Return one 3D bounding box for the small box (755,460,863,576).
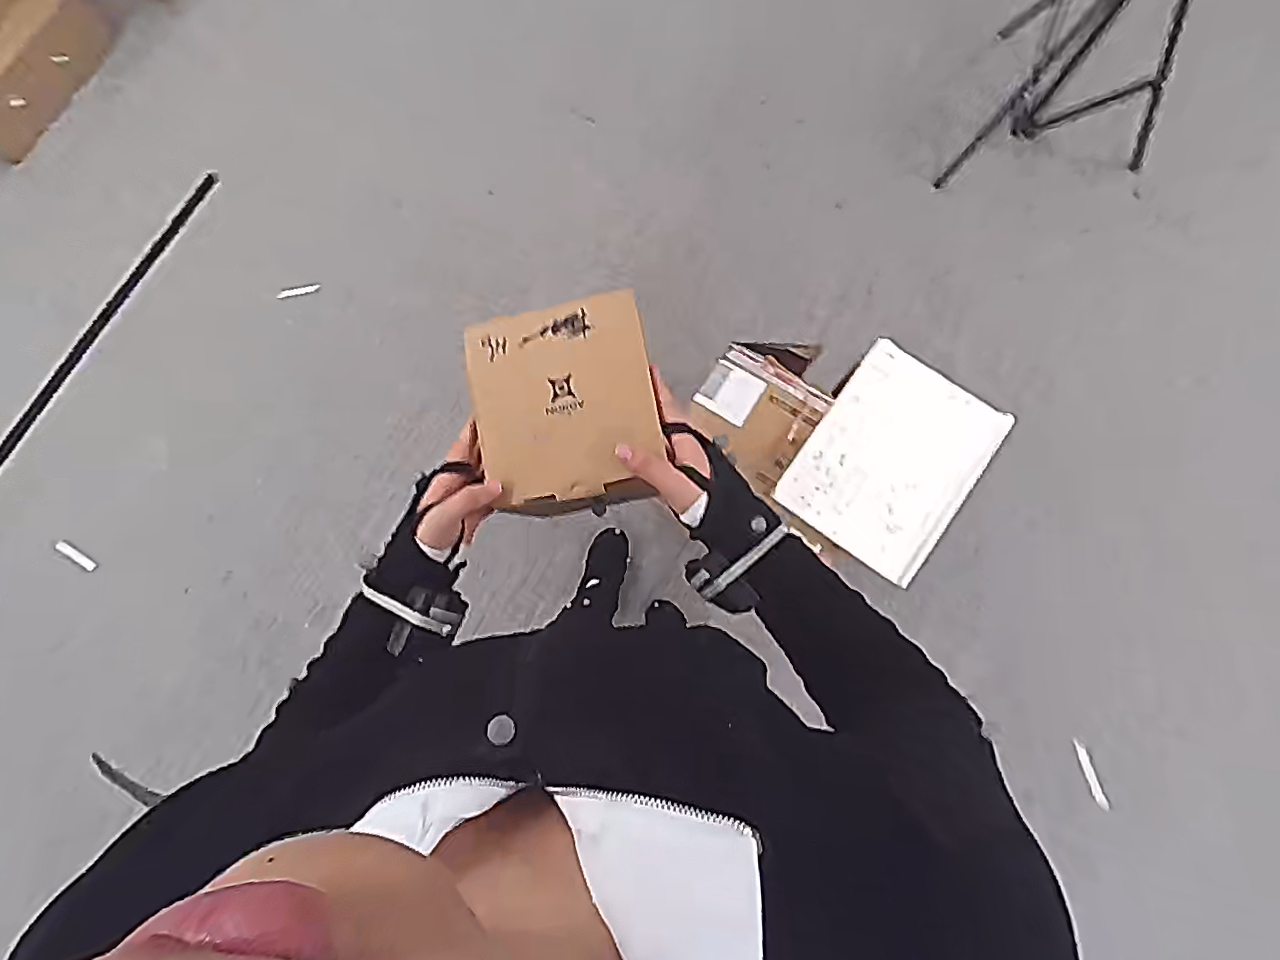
[{"bbox_3d":[0.331,0.055,0.970,0.179,0.176,0.168,32,83,6],"label":"small box"}]

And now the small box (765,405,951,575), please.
[{"bbox_3d":[0.309,0.021,0.809,0.168,0.176,0.179,36,85,6],"label":"small box"}]
